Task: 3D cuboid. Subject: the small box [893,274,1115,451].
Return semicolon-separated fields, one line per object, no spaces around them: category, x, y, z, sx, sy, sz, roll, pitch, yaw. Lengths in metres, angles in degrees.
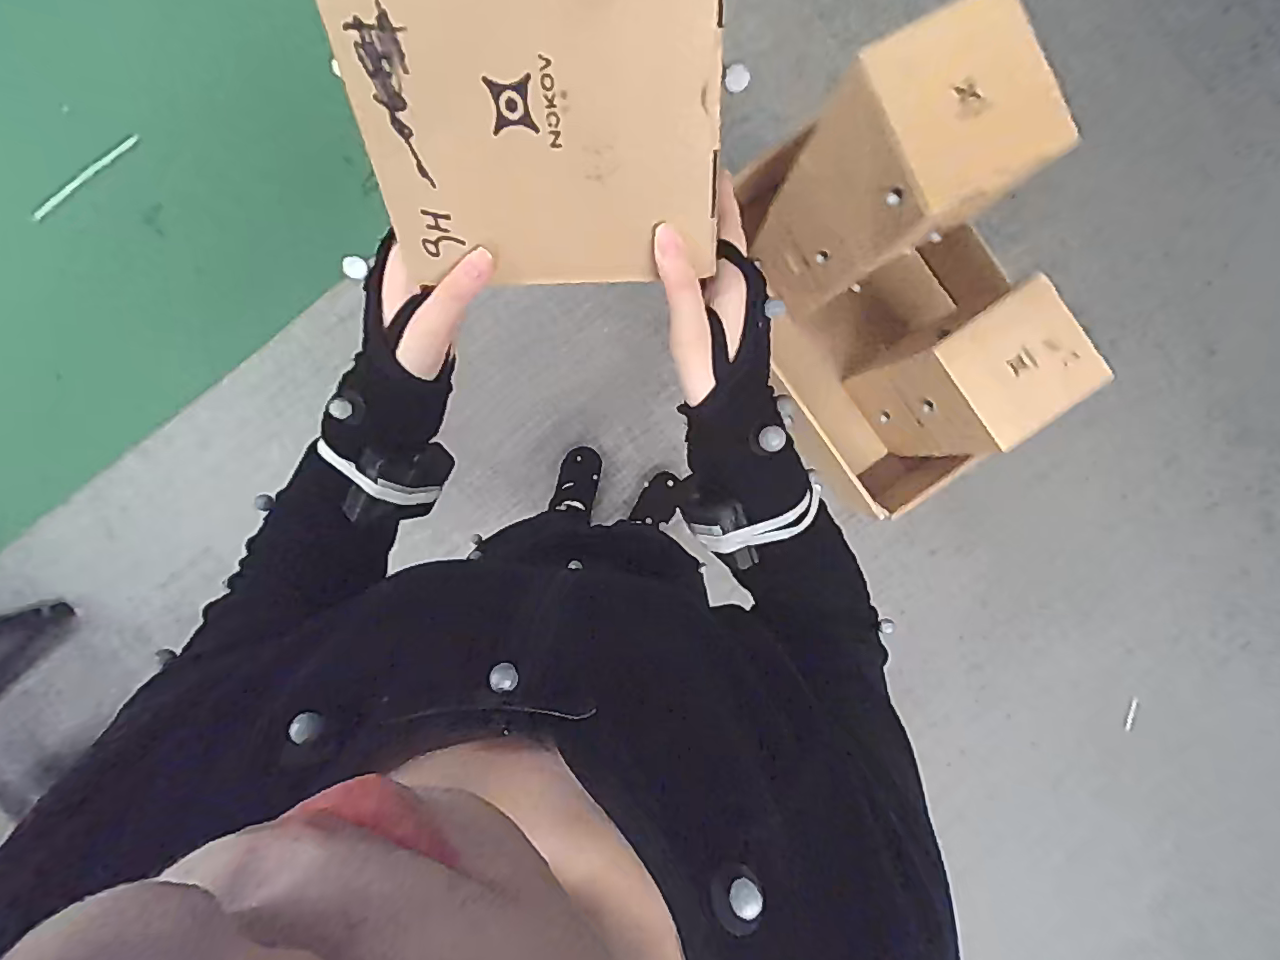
small box;0.494;-0.153;0.771;0.179;0.176;0.168;-34;92;2

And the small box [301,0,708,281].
small box;-0.051;-0.228;0.311;0.179;0.176;0.168;1;130;6

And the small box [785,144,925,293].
small box;0.324;-0.394;0.765;0.179;0.176;0.168;-29;93;1

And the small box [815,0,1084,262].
small box;0.323;-0.378;0.603;0.168;0.176;0.179;-26;95;1
